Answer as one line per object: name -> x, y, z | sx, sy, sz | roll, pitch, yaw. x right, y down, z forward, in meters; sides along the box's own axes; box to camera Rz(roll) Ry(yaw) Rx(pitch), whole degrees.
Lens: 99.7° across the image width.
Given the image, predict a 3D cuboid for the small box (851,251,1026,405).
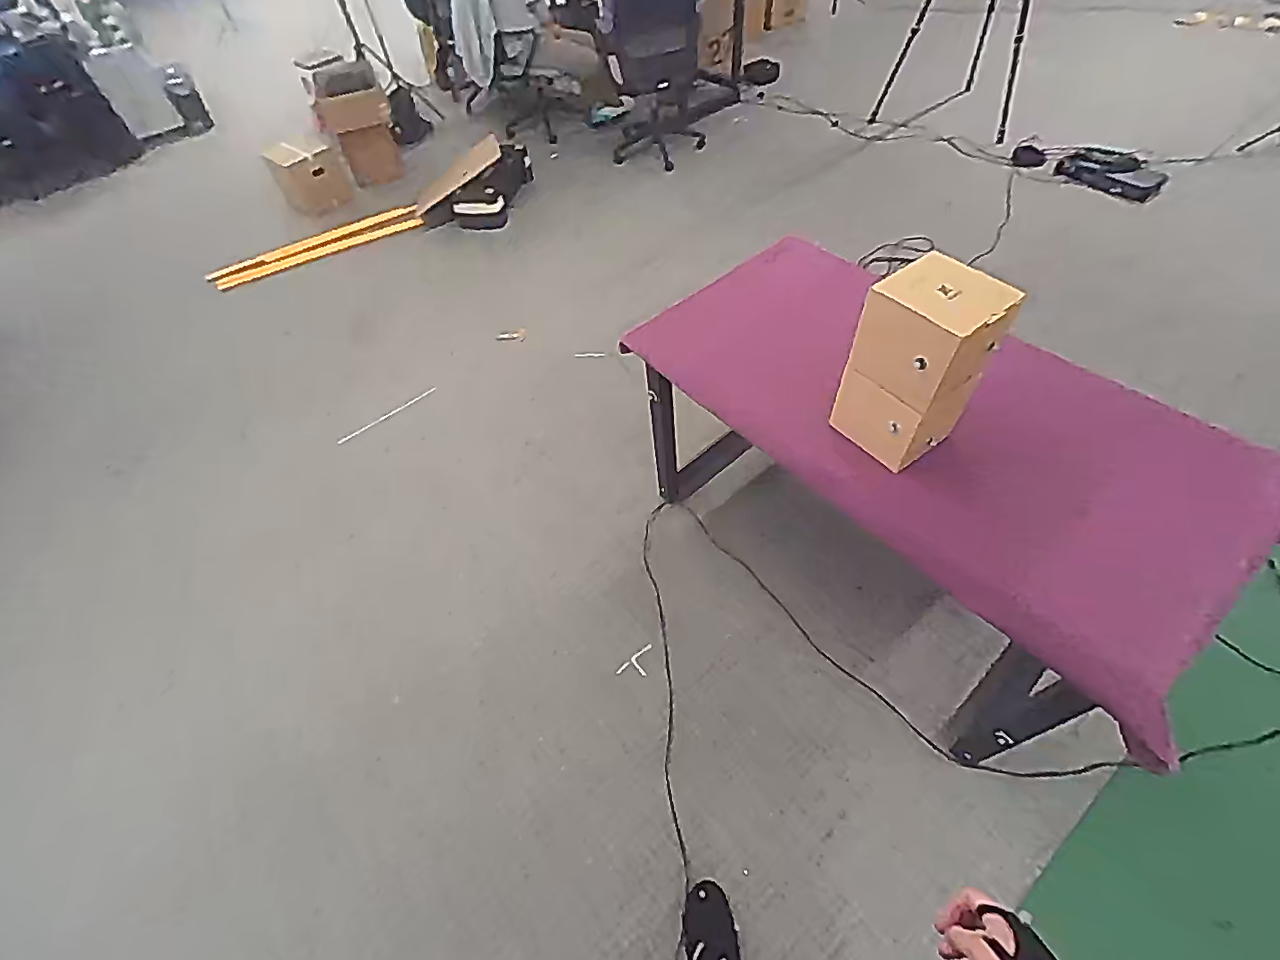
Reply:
small box -> 0.498, -0.253, 0.930 | 0.168, 0.176, 0.179 | -32, 56, -17
